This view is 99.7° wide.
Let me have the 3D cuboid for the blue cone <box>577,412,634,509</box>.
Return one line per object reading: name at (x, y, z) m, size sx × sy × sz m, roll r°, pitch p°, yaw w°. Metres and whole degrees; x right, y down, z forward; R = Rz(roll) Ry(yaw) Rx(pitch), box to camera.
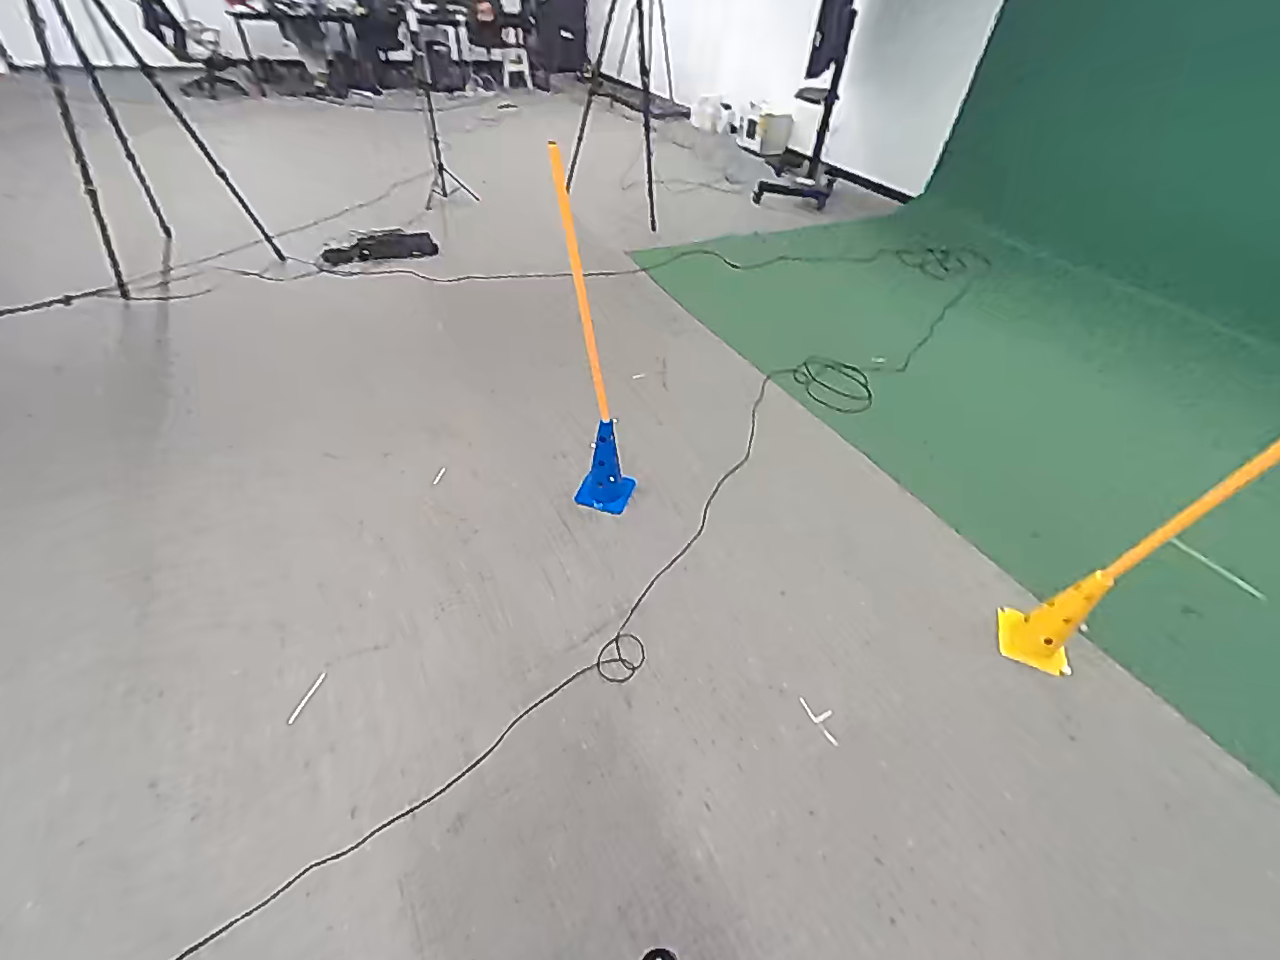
blue cone at (-0.127, -0.082, 1.960) m, size 0.193 × 0.380 × 0.192 m, roll 13°, pitch 46°, yaw 10°
